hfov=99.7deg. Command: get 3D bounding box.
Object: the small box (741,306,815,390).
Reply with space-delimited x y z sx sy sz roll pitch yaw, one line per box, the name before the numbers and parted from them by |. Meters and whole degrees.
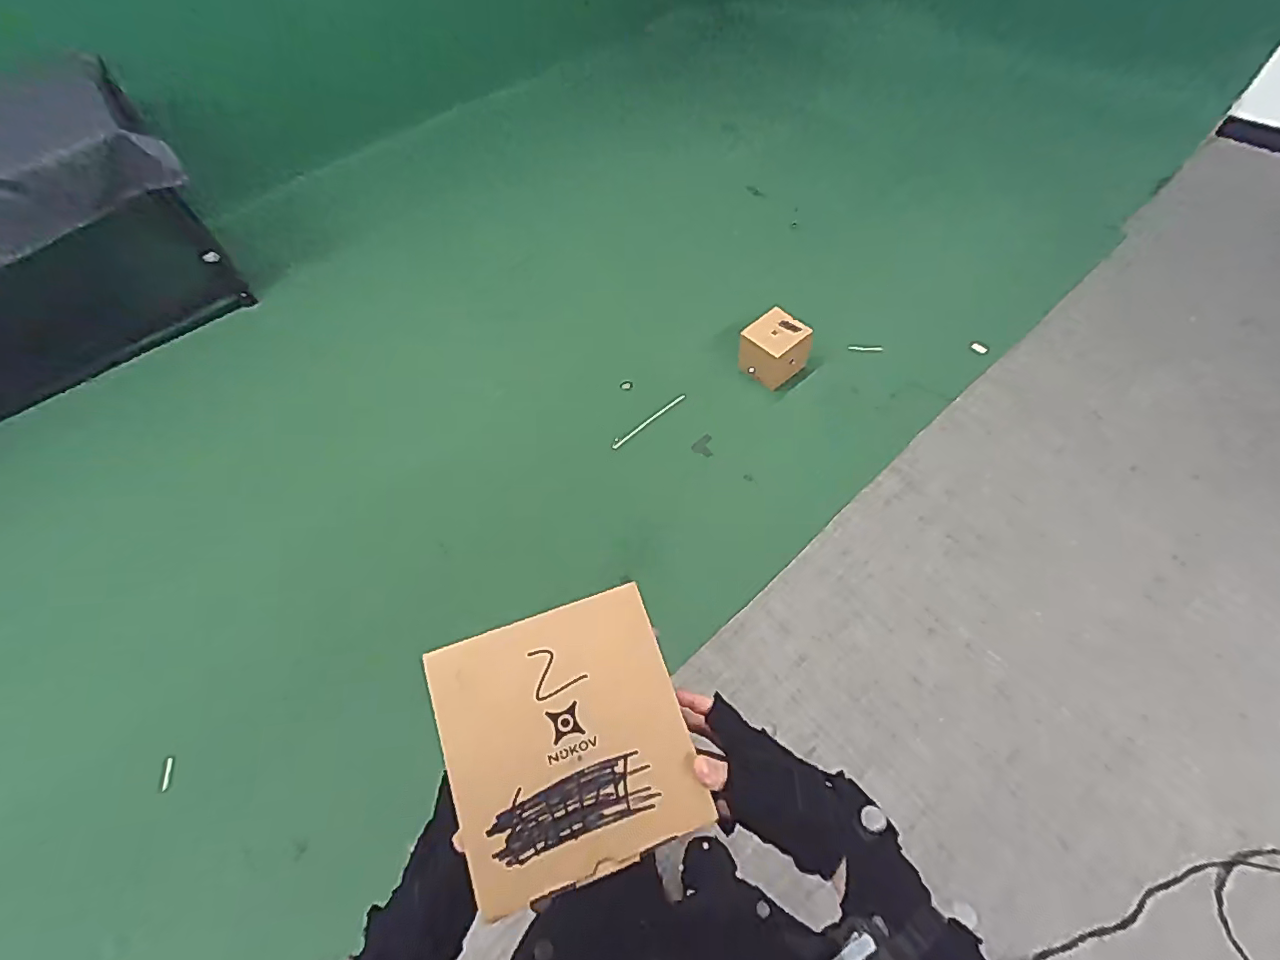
small box | 0.455 -0.442 1.821 0.179 0.176 0.168 -38 62 -16
